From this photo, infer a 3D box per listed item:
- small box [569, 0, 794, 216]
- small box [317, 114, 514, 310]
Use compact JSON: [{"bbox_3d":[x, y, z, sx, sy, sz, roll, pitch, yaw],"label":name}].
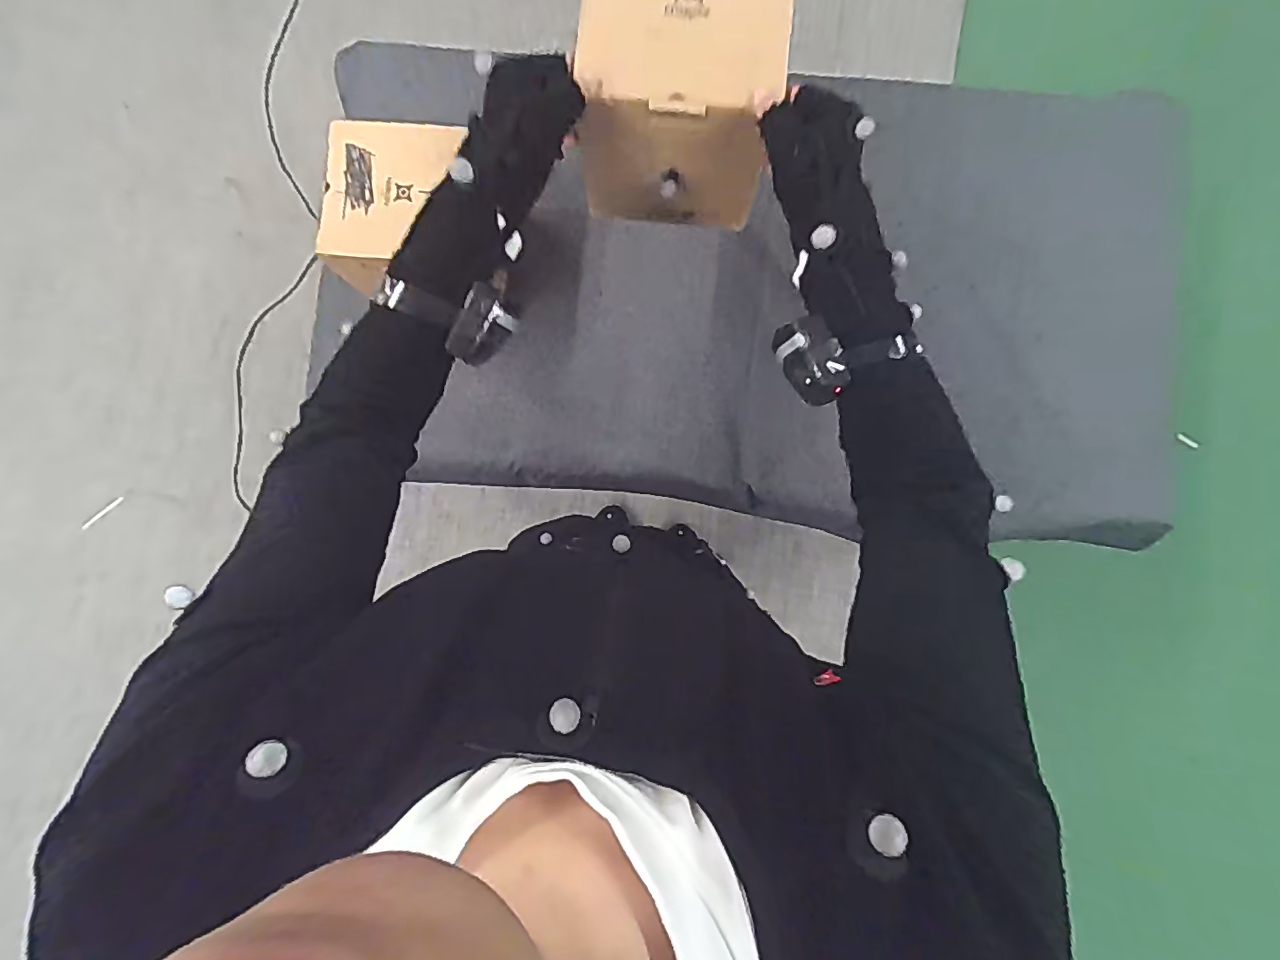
[{"bbox_3d":[0.038,-0.368,0.490,0.168,0.176,0.179,6,88,1],"label":"small box"},{"bbox_3d":[-0.277,-0.333,0.702,0.179,0.176,0.168,4,87,0],"label":"small box"}]
